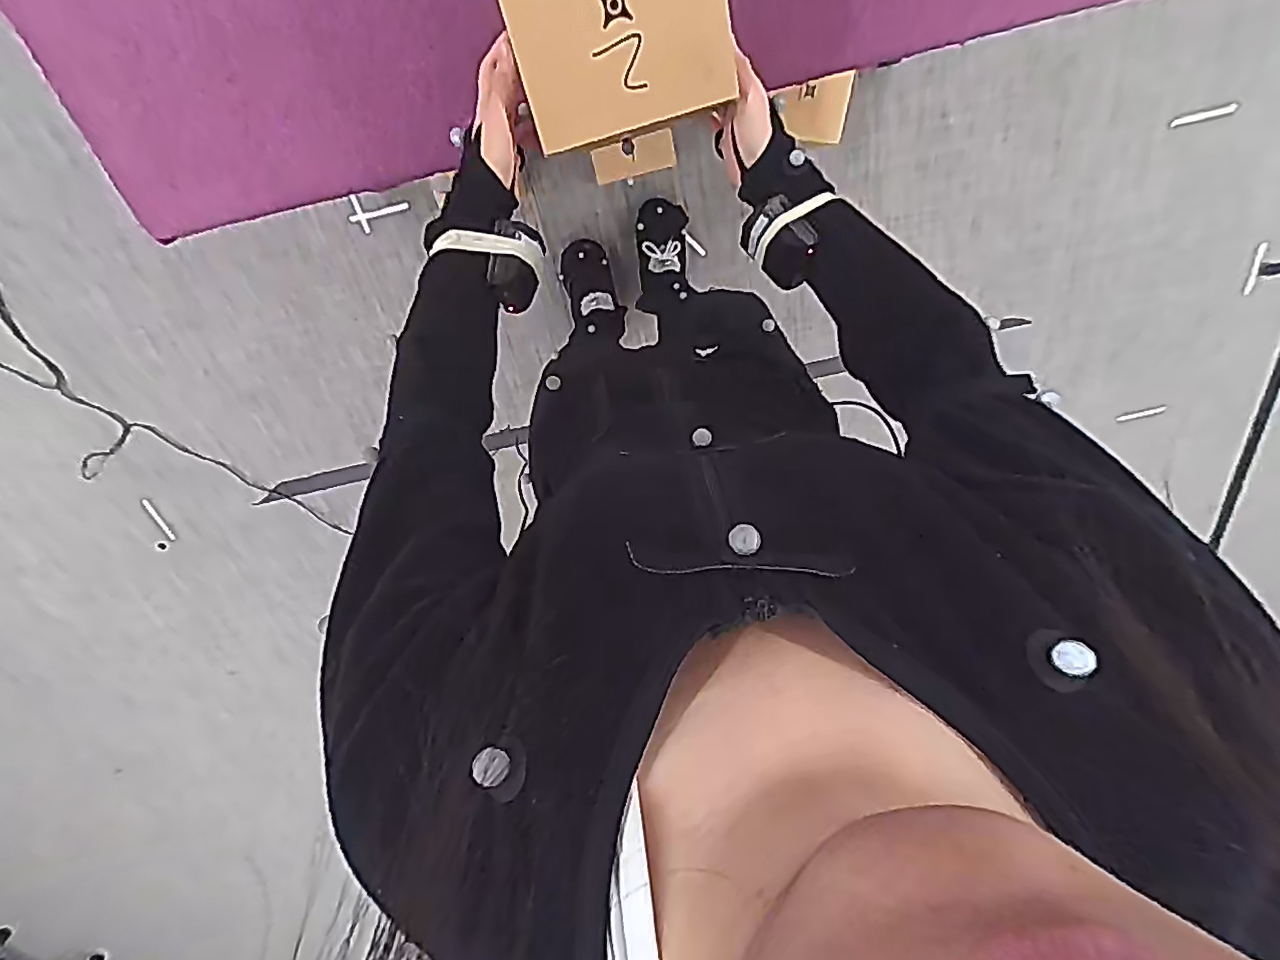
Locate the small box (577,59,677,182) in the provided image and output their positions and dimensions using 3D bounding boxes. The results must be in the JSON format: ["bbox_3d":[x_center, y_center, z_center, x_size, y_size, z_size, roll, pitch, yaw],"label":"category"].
[{"bbox_3d":[-0.031,-0.727,1.113,0.168,0.176,0.179,-14,120,1],"label":"small box"}]

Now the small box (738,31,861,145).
[{"bbox_3d":[0.319,-0.797,1.116,0.179,0.176,0.168,2,119,-6],"label":"small box"}]

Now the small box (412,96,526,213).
[{"bbox_3d":[-0.341,-0.659,1.115,0.168,0.176,0.179,-12,118,0],"label":"small box"}]
